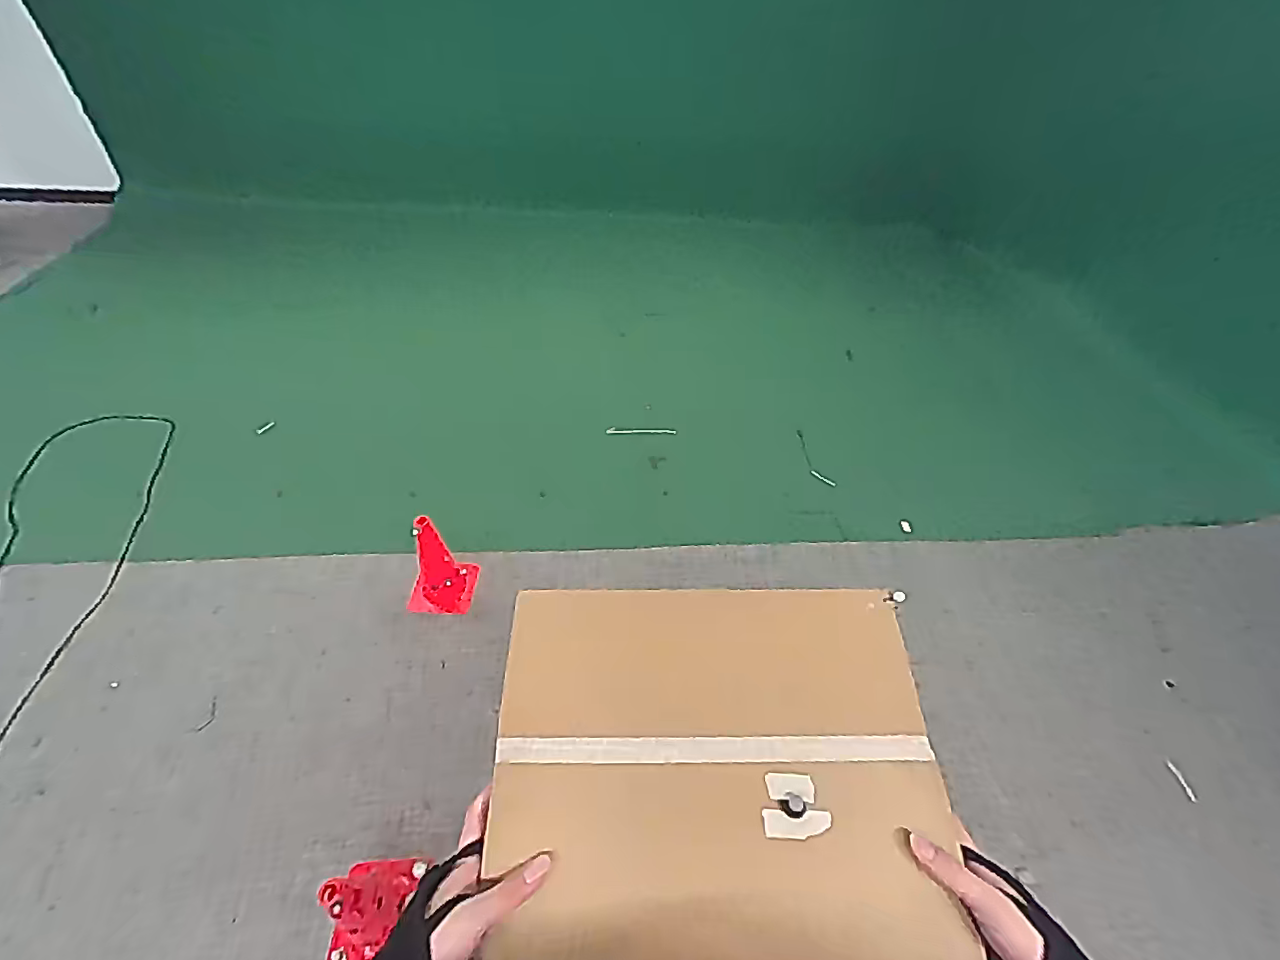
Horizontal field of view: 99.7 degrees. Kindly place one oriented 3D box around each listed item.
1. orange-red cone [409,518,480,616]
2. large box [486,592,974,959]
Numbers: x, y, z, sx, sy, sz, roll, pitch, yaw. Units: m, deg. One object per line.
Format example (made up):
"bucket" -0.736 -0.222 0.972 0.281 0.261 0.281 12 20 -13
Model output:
"orange-red cone" -0.651 0.250 1.708 0.199 0.360 0.198 3 45 1
"large box" 0.069 0.337 0.637 0.408 0.320 0.320 -1 58 0
